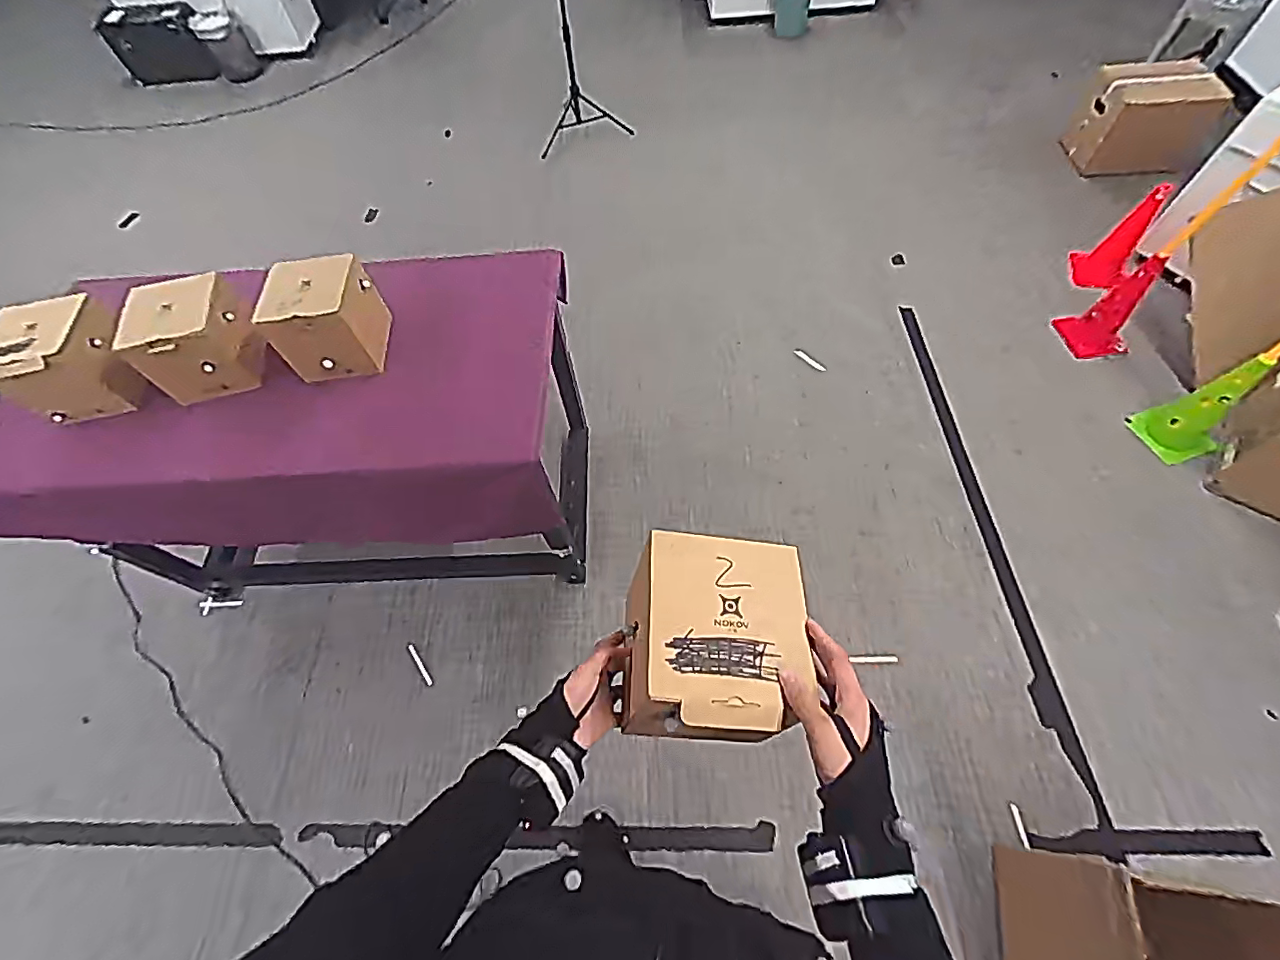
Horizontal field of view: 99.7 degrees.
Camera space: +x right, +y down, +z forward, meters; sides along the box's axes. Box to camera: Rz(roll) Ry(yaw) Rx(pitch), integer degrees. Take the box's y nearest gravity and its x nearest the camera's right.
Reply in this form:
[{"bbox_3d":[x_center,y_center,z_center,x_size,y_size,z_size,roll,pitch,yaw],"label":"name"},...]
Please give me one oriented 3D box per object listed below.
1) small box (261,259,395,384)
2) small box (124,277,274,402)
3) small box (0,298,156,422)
[{"bbox_3d":[-0.629,-0.324,1.118,0.168,0.176,0.179,-7,60,1],"label":"small box"},{"bbox_3d":[-0.891,-0.280,1.114,0.168,0.176,0.179,-14,60,-5],"label":"small box"},{"bbox_3d":[-1.138,-0.235,1.104,0.168,0.176,0.179,-12,59,-4],"label":"small box"}]
